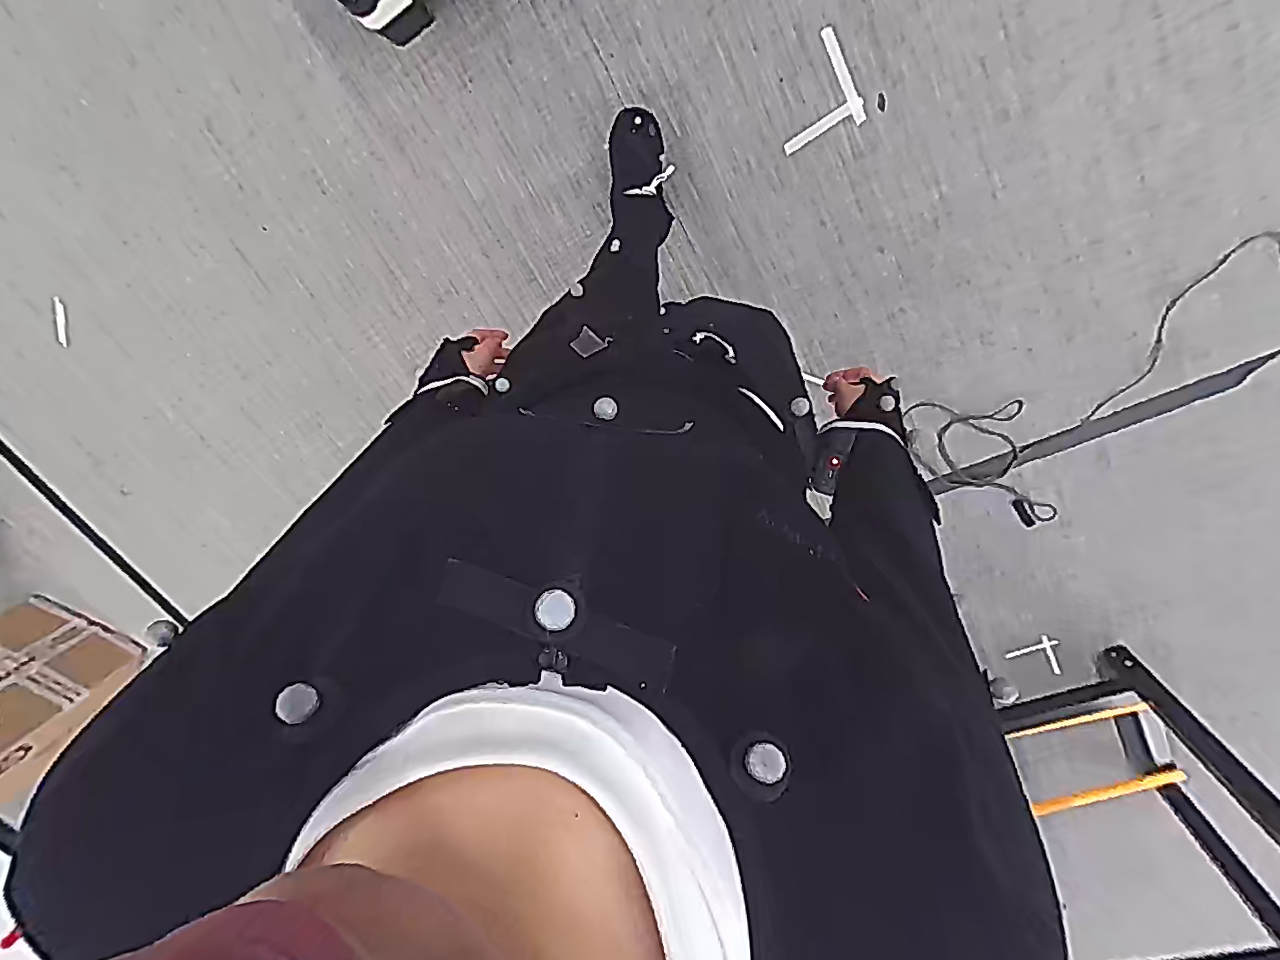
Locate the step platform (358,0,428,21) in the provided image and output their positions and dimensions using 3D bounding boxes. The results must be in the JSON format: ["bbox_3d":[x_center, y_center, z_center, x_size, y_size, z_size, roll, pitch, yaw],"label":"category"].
[{"bbox_3d":[-0.275,-1.086,0.841,0.684,0.204,0.286,-24,110,17],"label":"step platform"}]
